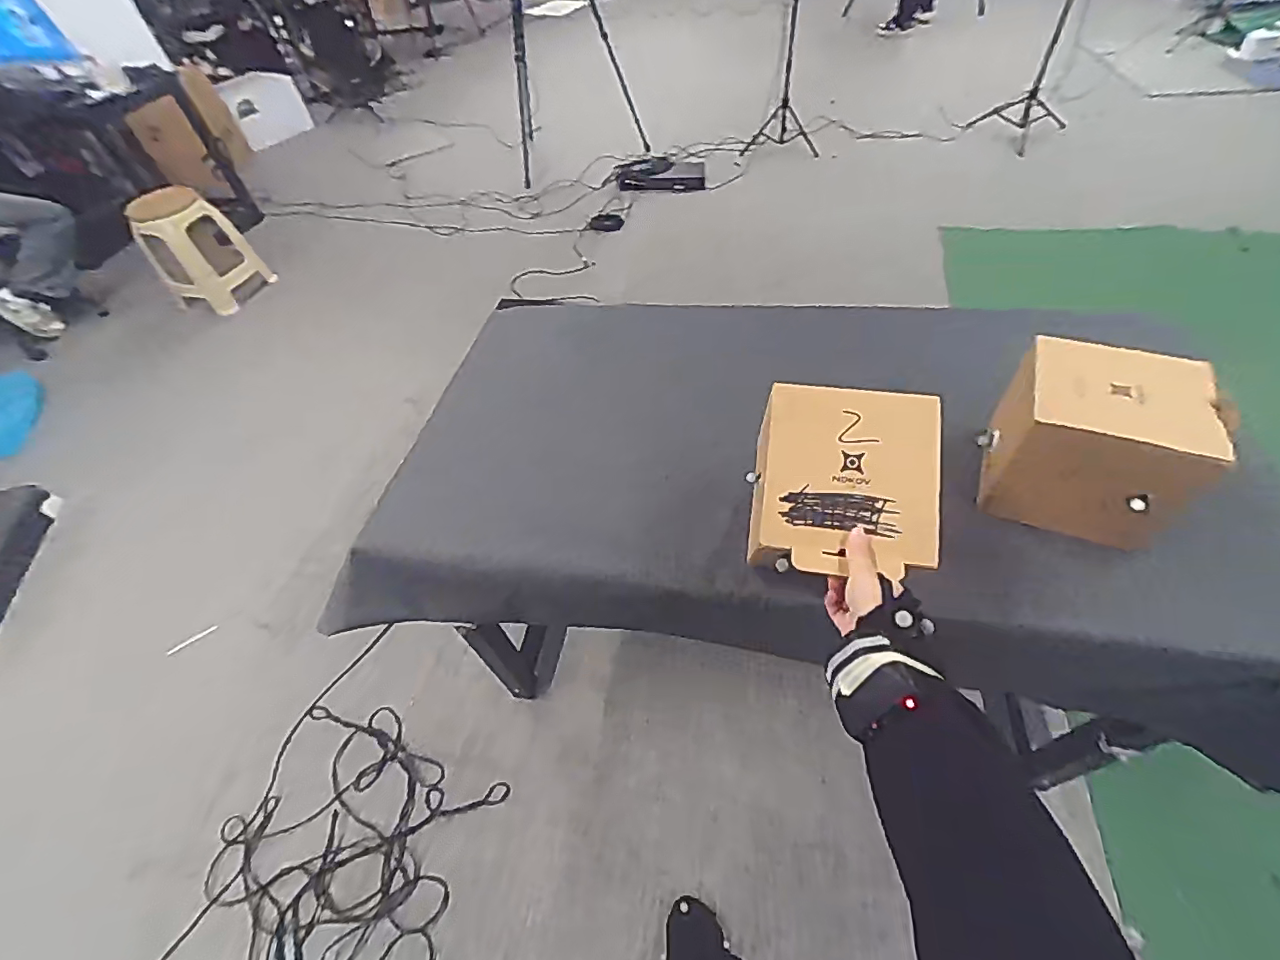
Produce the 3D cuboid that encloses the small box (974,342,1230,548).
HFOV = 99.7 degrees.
[{"bbox_3d":[0.544,-0.039,0.663,0.179,0.176,0.168,16,53,20],"label":"small box"}]
